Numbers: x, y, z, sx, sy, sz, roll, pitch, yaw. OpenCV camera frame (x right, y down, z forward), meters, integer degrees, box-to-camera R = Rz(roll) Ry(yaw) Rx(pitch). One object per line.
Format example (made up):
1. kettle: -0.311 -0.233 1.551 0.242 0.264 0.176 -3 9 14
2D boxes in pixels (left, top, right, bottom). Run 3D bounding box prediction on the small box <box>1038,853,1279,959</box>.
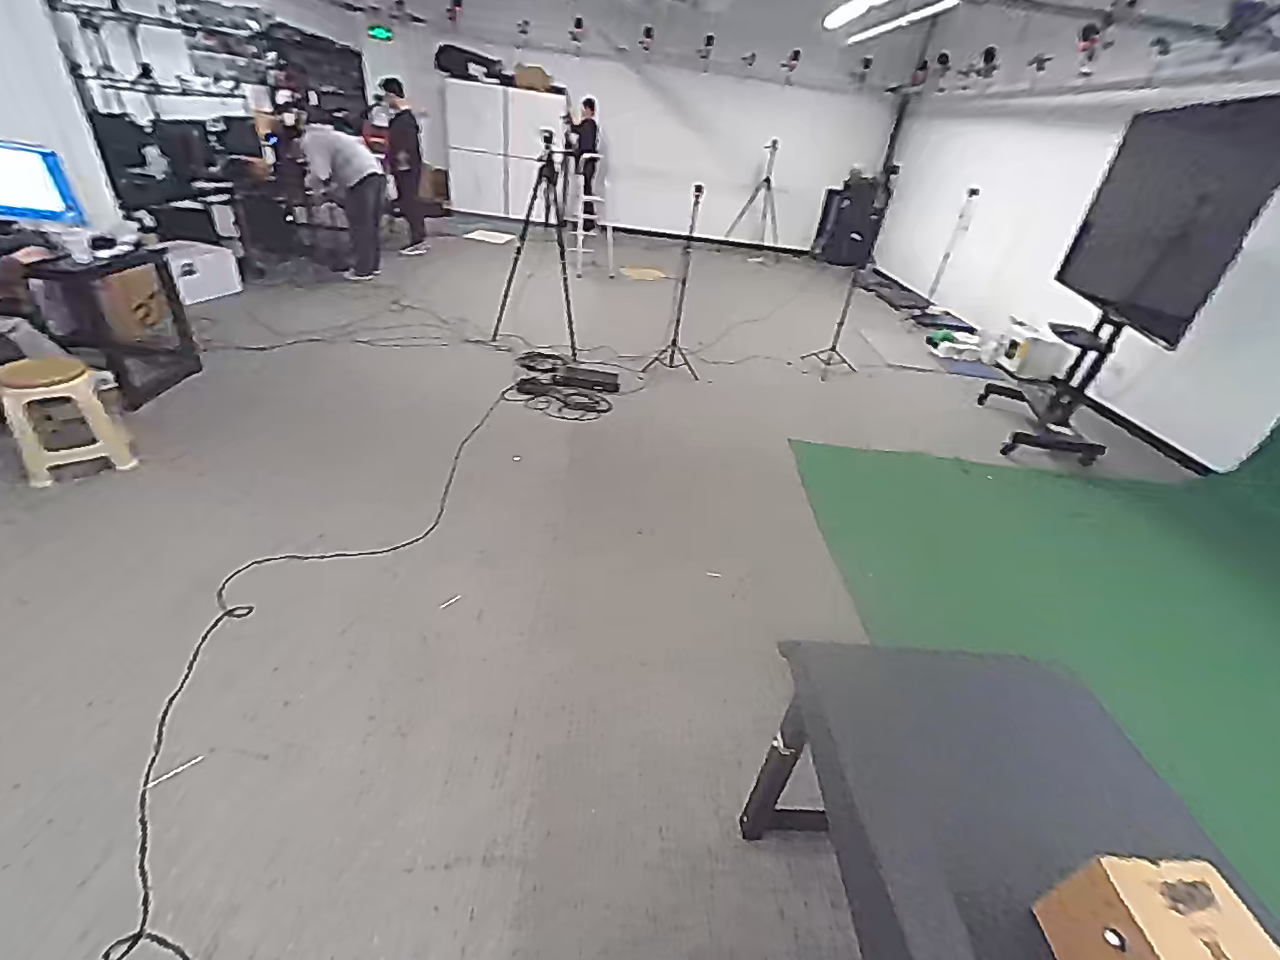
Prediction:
1. small box: 0.658 0.606 0.679 0.168 0.176 0.179 5 34 -4
